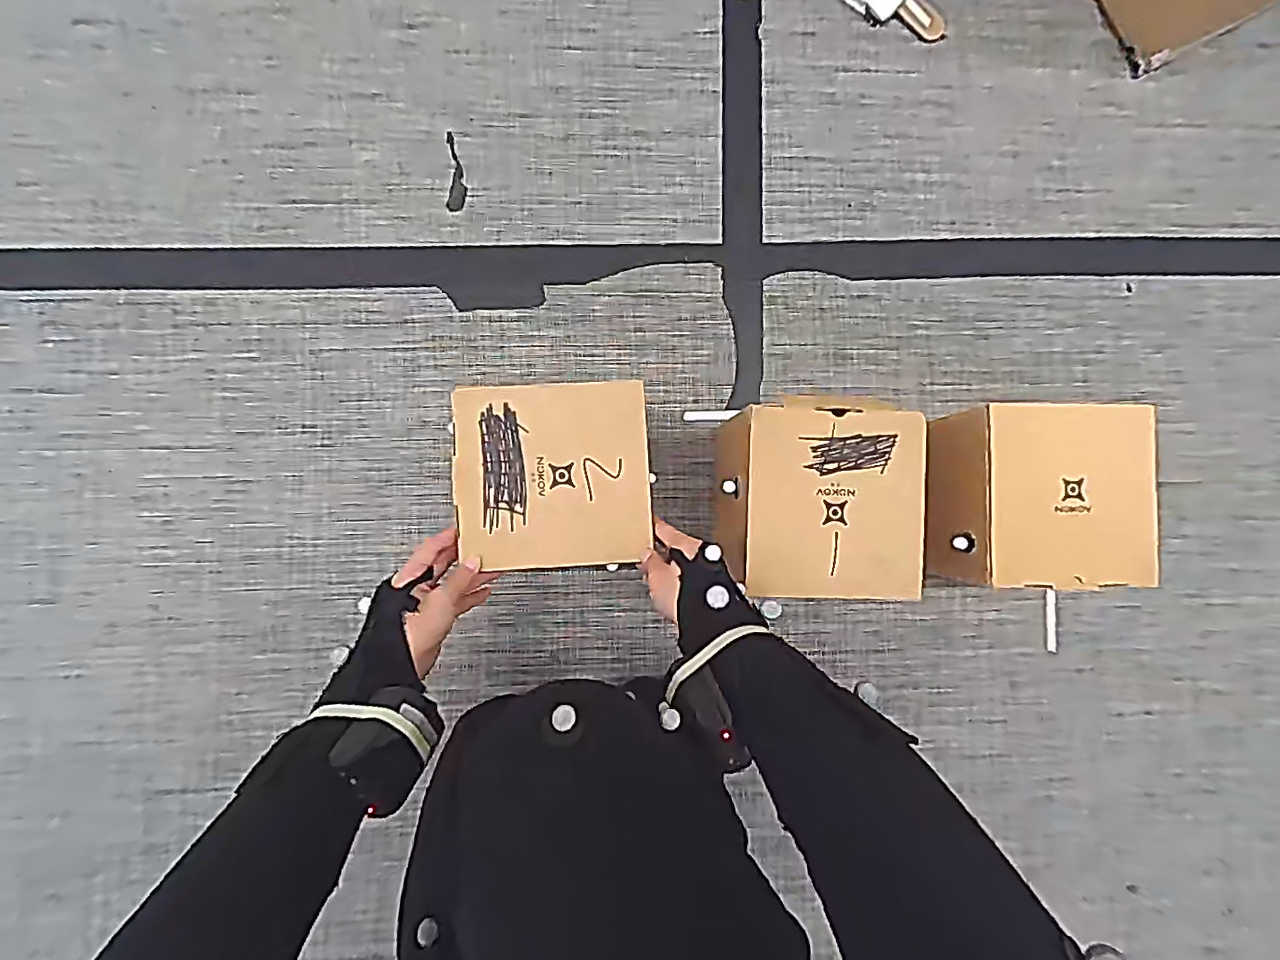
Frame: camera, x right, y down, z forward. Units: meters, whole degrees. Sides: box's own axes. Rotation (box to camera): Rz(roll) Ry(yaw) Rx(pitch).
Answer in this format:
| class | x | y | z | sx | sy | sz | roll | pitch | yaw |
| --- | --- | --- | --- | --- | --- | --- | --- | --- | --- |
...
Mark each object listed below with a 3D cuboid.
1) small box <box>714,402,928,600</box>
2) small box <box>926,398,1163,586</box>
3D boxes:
| class | x | y | z | sx | sy | sz | roll | pitch | yaw |
| --- | --- | --- | --- | --- | --- | --- | --- | --- | --- |
| small box | 0.175 | 0.022 | 0.567 | 0.168 | 0.176 | 0.179 | 2 | 88 | -3 |
| small box | 0.401 | 0.015 | 0.583 | 0.168 | 0.176 | 0.179 | 0 | 88 | -3 |
